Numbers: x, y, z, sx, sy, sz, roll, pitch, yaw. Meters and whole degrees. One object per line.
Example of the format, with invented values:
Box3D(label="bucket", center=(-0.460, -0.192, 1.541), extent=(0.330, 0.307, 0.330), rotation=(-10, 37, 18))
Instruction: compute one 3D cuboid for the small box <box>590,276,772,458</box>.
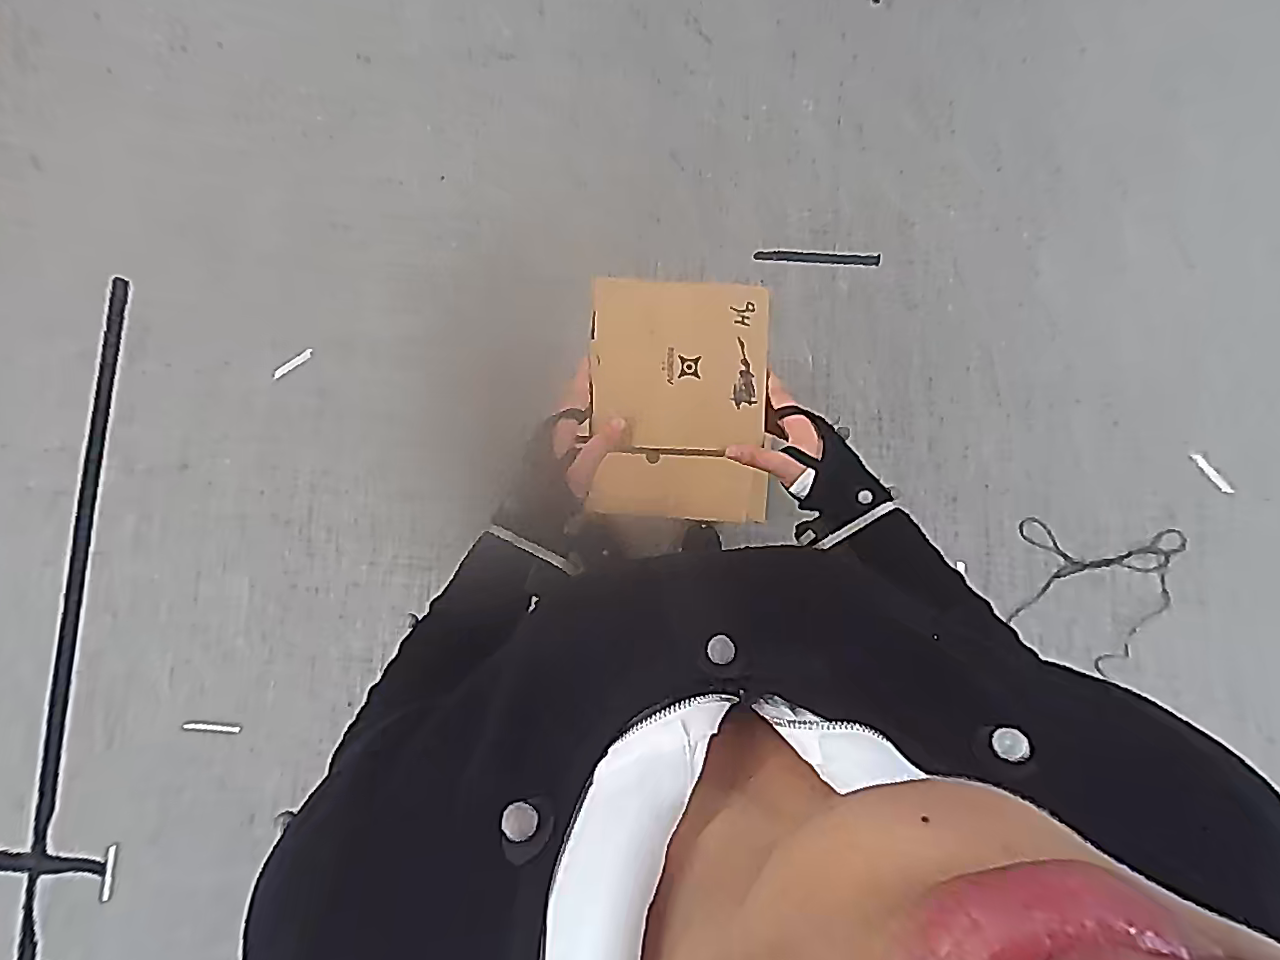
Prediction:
Box3D(label="small box", center=(0.035, -0.111, 0.601), extent=(0.179, 0.176, 0.168), rotation=(1, 90, -6))
